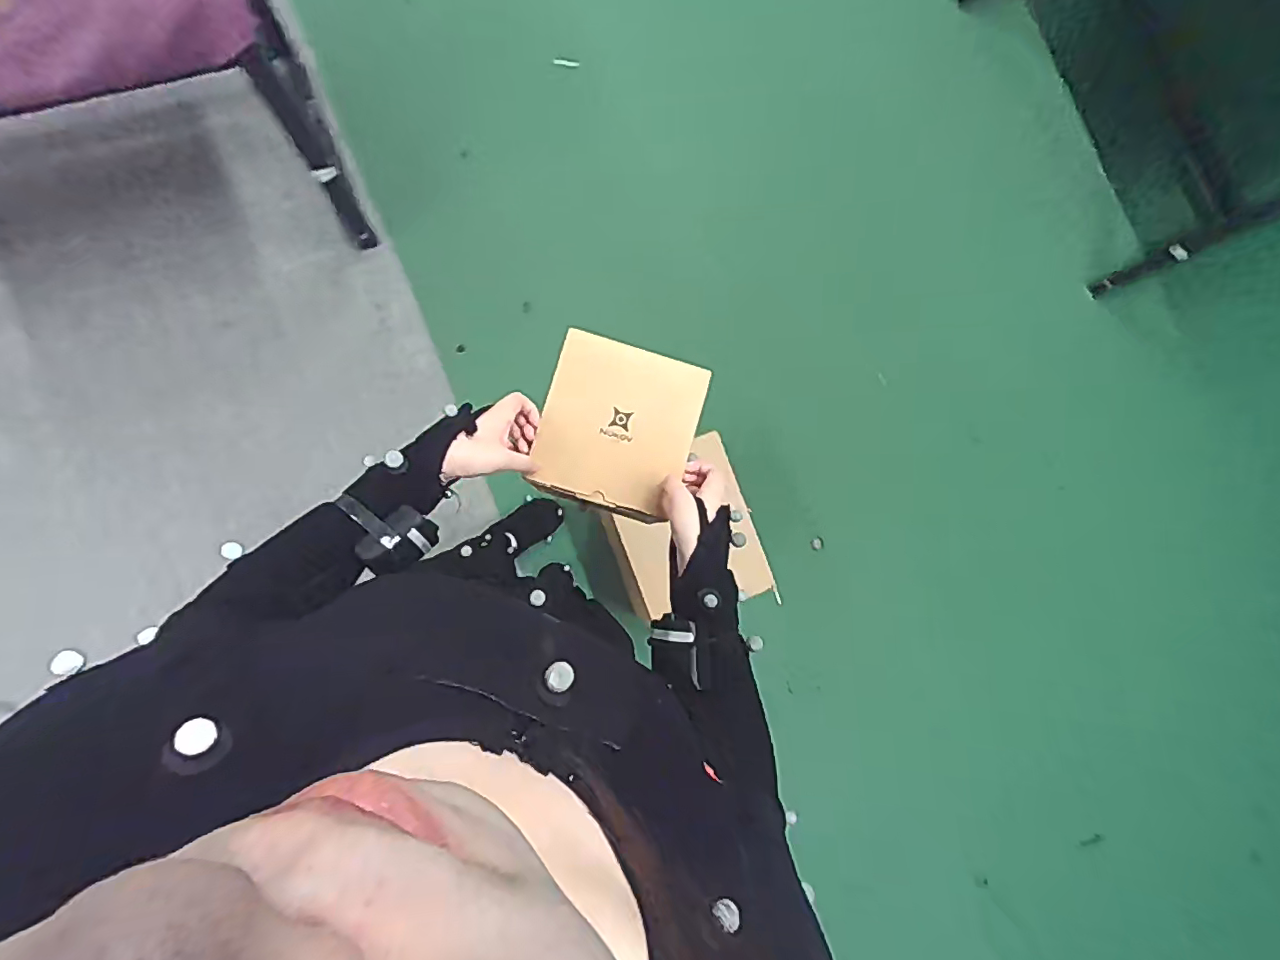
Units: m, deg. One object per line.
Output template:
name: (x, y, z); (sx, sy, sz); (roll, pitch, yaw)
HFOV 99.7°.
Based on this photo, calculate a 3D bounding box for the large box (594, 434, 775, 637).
large box: (0.084, 0.136, 1.401); (0.320, 0.320, 0.408); (-20, 88, -10)

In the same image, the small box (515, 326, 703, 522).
small box: (-0.039, -0.054, 0.652); (0.168, 0.176, 0.179); (16, 85, -4)
